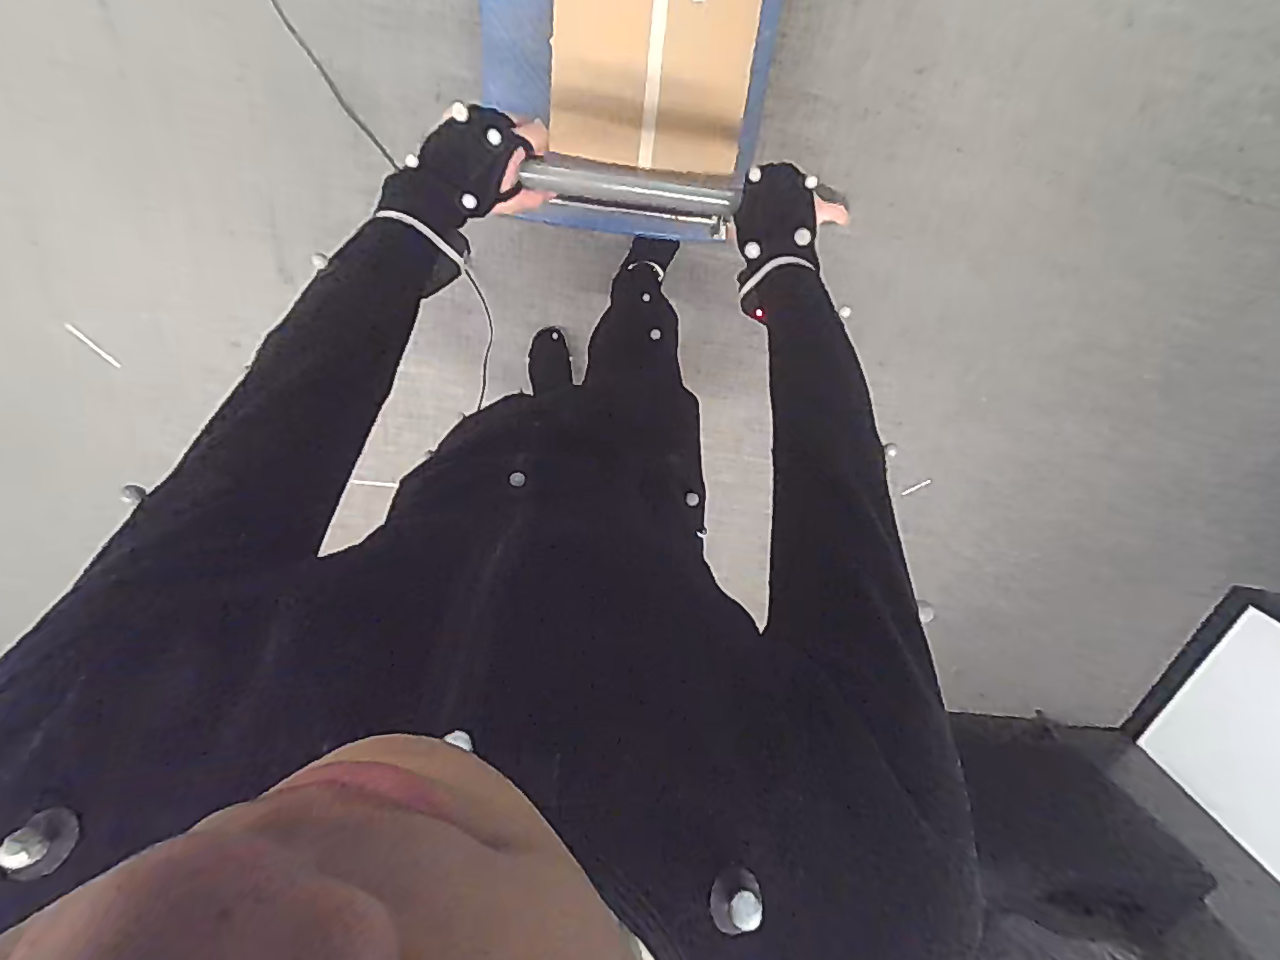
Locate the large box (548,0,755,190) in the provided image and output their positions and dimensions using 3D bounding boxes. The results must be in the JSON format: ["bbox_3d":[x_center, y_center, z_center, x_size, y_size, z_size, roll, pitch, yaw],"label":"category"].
[{"bbox_3d":[0.008,-0.762,0.963,0.320,0.320,0.408,3,115,-8],"label":"large box"}]
